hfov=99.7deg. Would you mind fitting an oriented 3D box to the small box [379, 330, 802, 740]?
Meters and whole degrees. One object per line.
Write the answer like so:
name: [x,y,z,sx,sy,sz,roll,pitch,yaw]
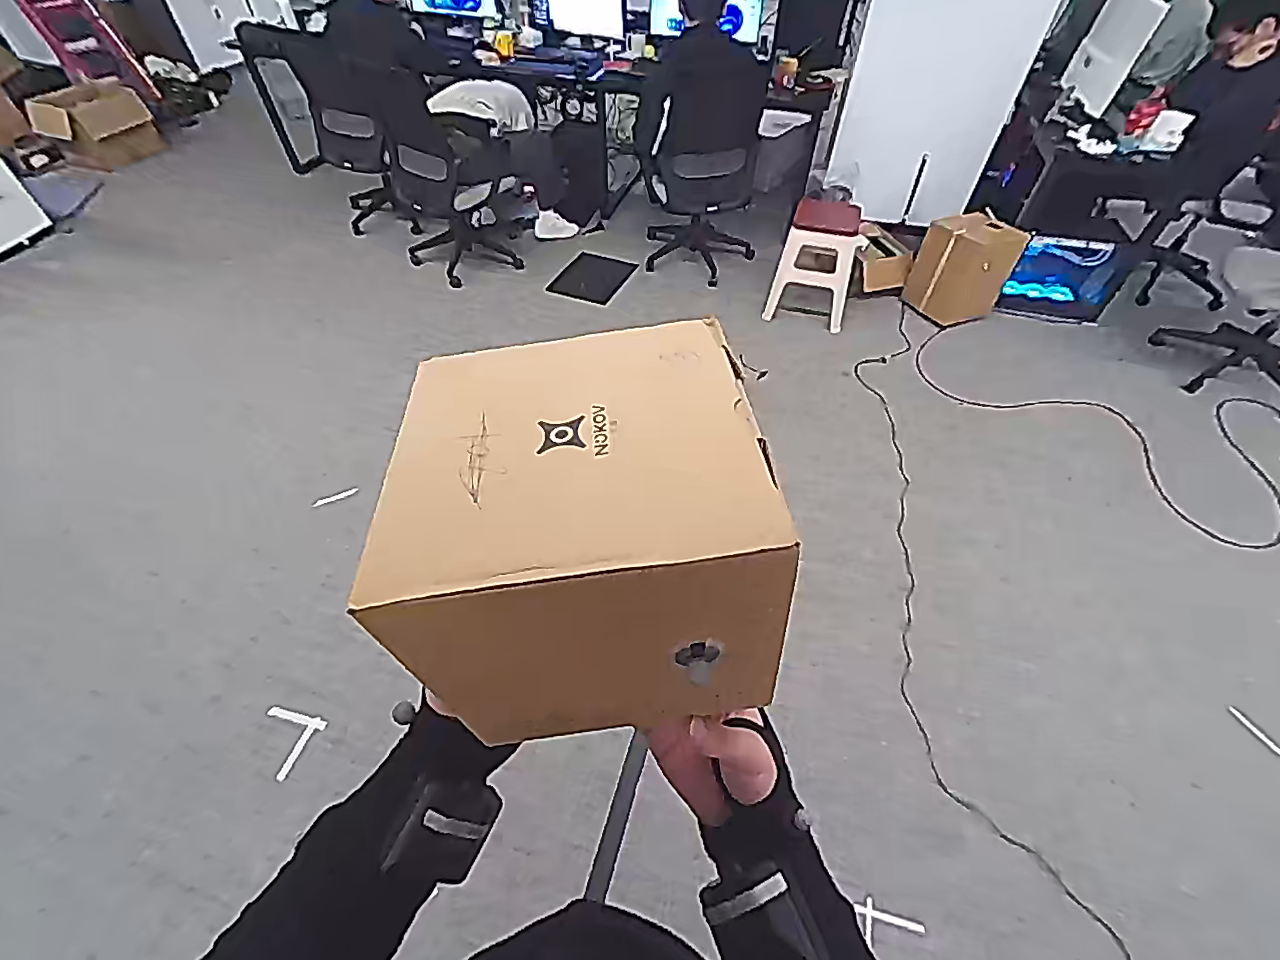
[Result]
small box: [-0.020,0.037,0.328,0.179,0.176,0.168,-10,46,1]
